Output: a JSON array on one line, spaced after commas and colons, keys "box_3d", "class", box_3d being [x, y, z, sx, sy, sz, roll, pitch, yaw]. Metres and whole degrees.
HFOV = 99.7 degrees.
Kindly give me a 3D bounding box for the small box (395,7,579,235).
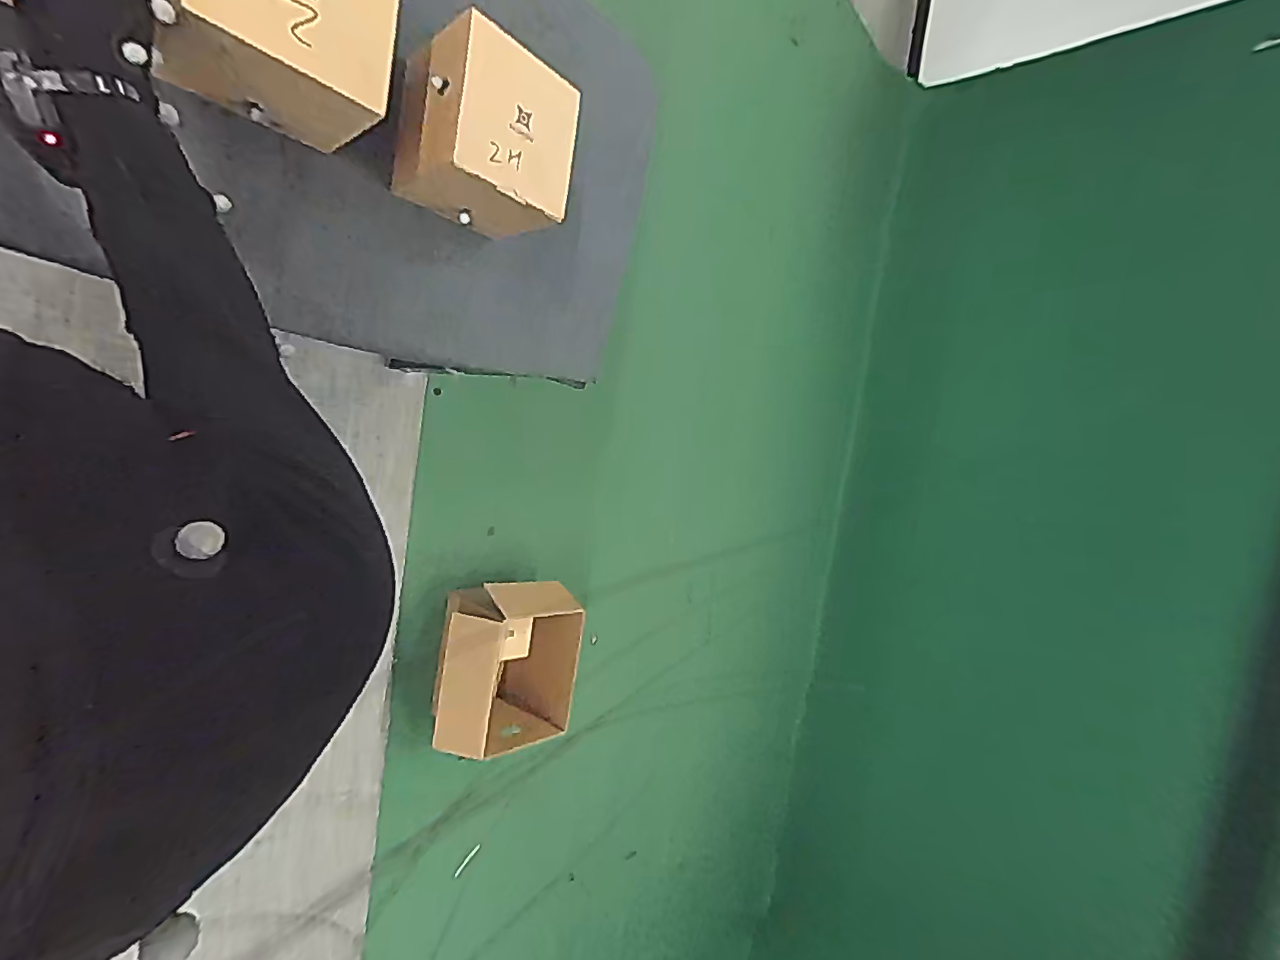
[{"box_3d": [-0.207, -0.455, 0.723, 0.168, 0.176, 0.179, 6, 94, -48], "class": "small box"}]
